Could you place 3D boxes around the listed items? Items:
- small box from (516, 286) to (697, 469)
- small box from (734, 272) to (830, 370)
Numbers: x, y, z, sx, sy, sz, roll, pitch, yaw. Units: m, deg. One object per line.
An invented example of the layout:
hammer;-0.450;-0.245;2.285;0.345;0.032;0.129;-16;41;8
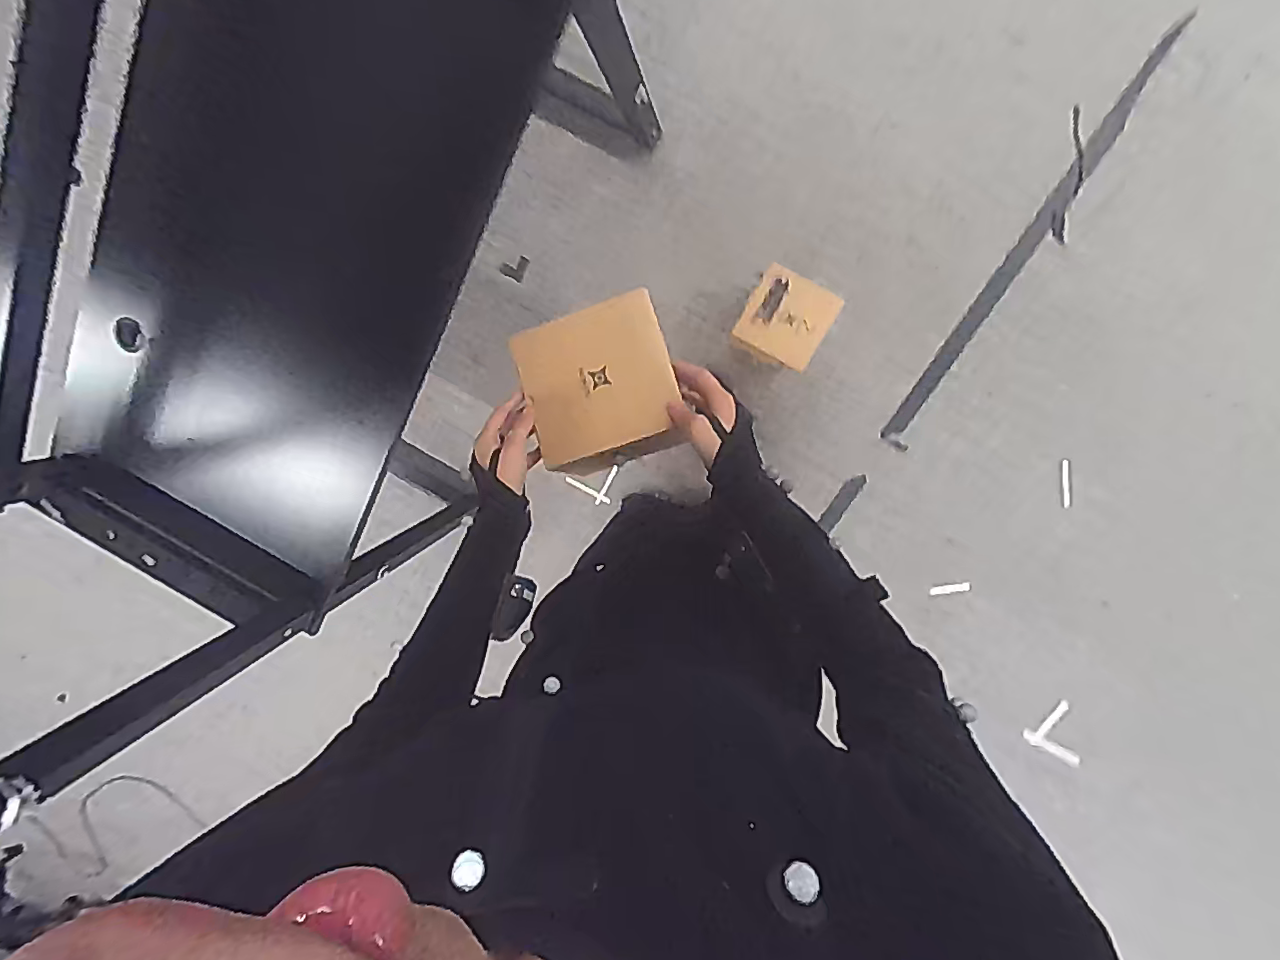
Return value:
small box;-0.030;-0.116;0.691;0.179;0.176;0.168;-17;86;8
small box;0.344;-0.393;1.353;0.168;0.176;0.179;28;107;2
